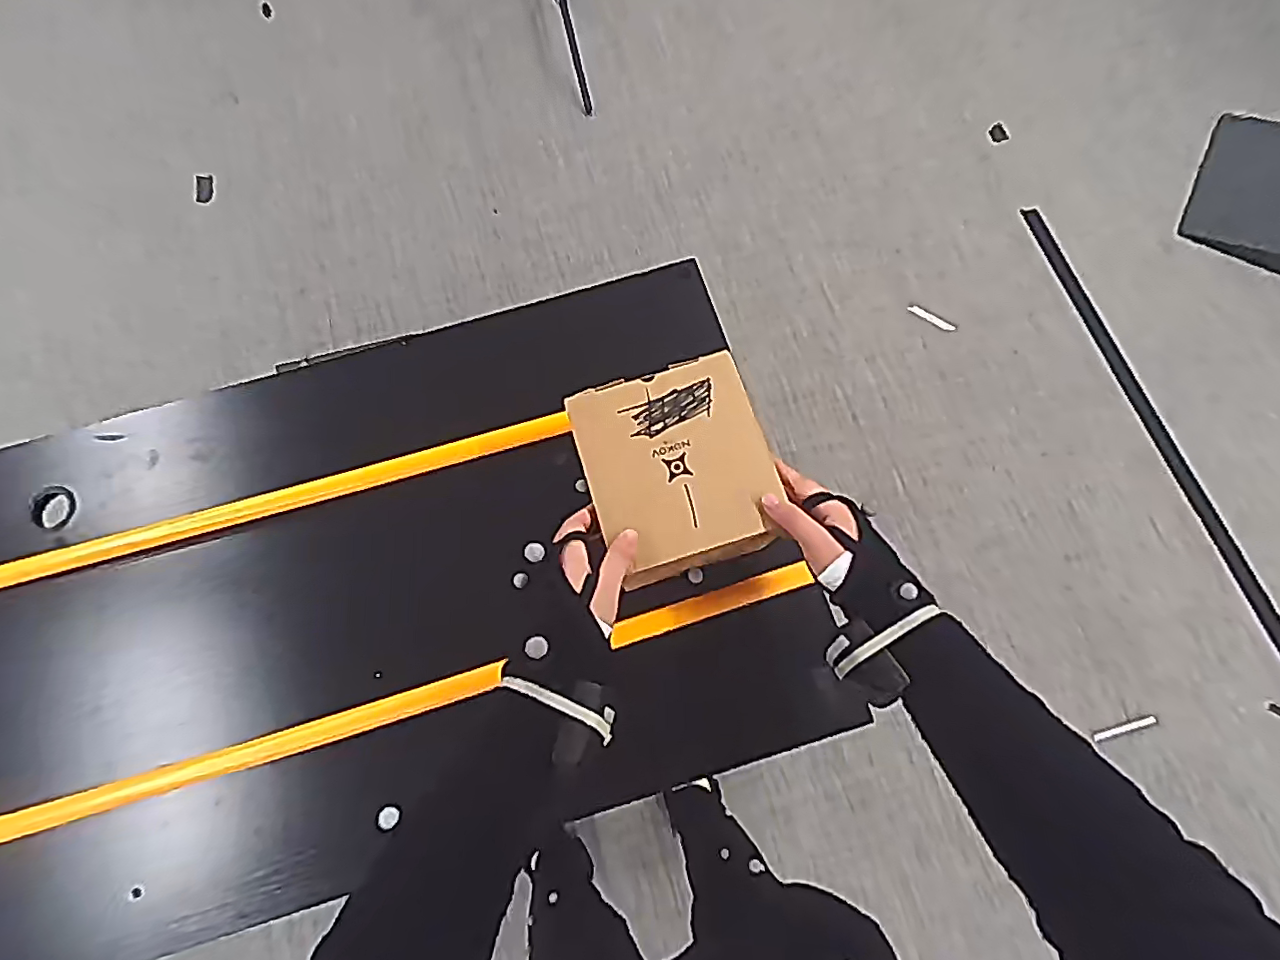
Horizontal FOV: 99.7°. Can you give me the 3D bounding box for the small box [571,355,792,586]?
[{"bbox_3d":[0.035,0.001,0.571,0.168,0.176,0.179,-17,75,-2],"label":"small box"}]
